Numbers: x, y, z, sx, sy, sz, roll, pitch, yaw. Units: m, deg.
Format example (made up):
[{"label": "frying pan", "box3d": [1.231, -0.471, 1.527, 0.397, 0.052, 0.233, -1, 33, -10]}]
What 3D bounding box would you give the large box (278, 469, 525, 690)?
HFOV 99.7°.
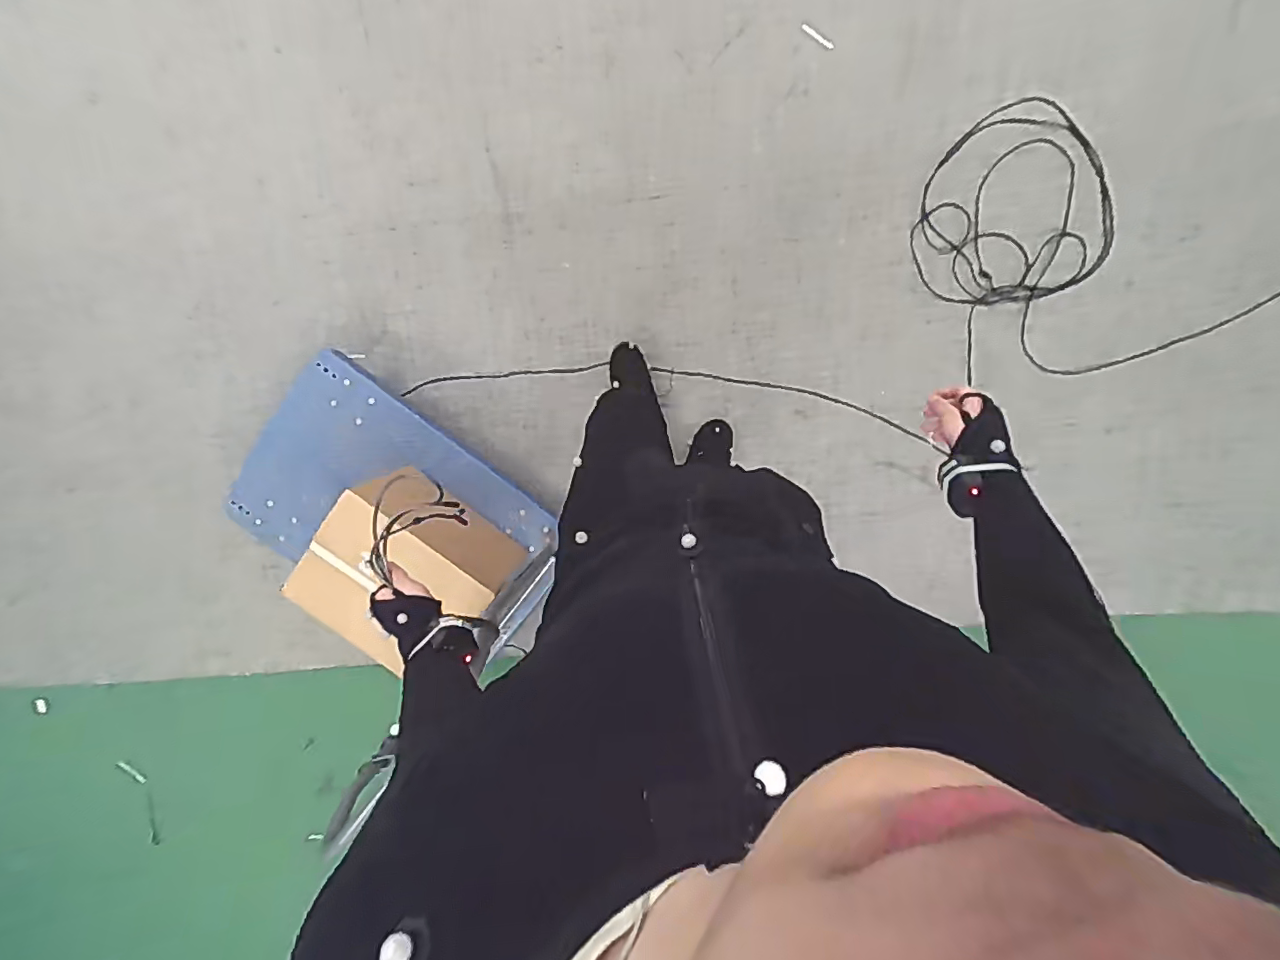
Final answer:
[{"label": "large box", "box3d": [-0.565, 0.229, 1.356, 0.408, 0.320, 0.320, 37, 100, -4]}]
